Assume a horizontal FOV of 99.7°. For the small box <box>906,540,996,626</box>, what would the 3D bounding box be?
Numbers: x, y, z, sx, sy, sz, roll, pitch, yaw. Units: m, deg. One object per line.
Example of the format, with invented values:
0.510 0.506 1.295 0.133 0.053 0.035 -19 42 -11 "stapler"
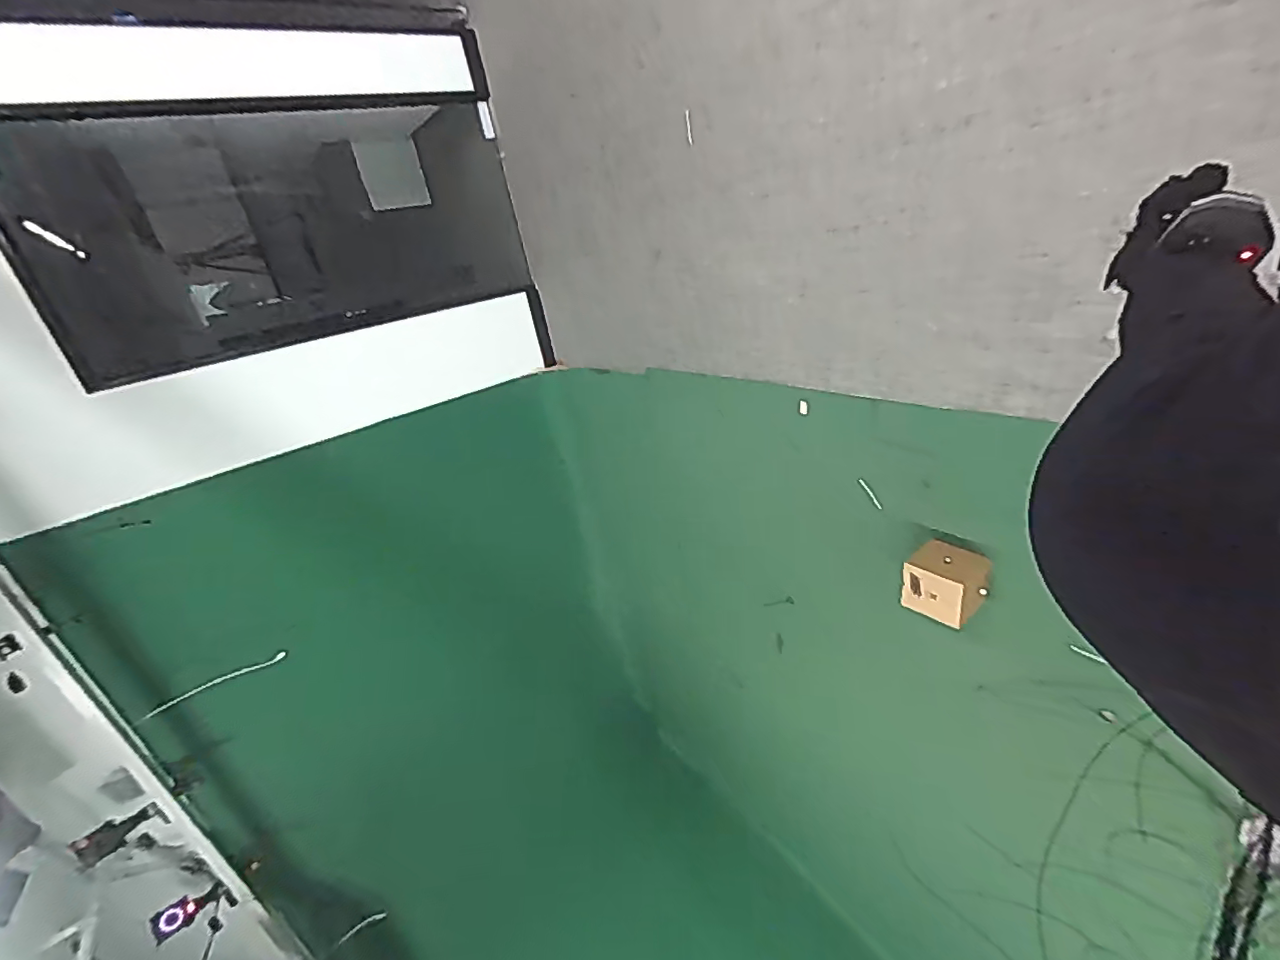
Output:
0.940 0.304 1.640 0.179 0.176 0.168 23 132 49 "small box"
